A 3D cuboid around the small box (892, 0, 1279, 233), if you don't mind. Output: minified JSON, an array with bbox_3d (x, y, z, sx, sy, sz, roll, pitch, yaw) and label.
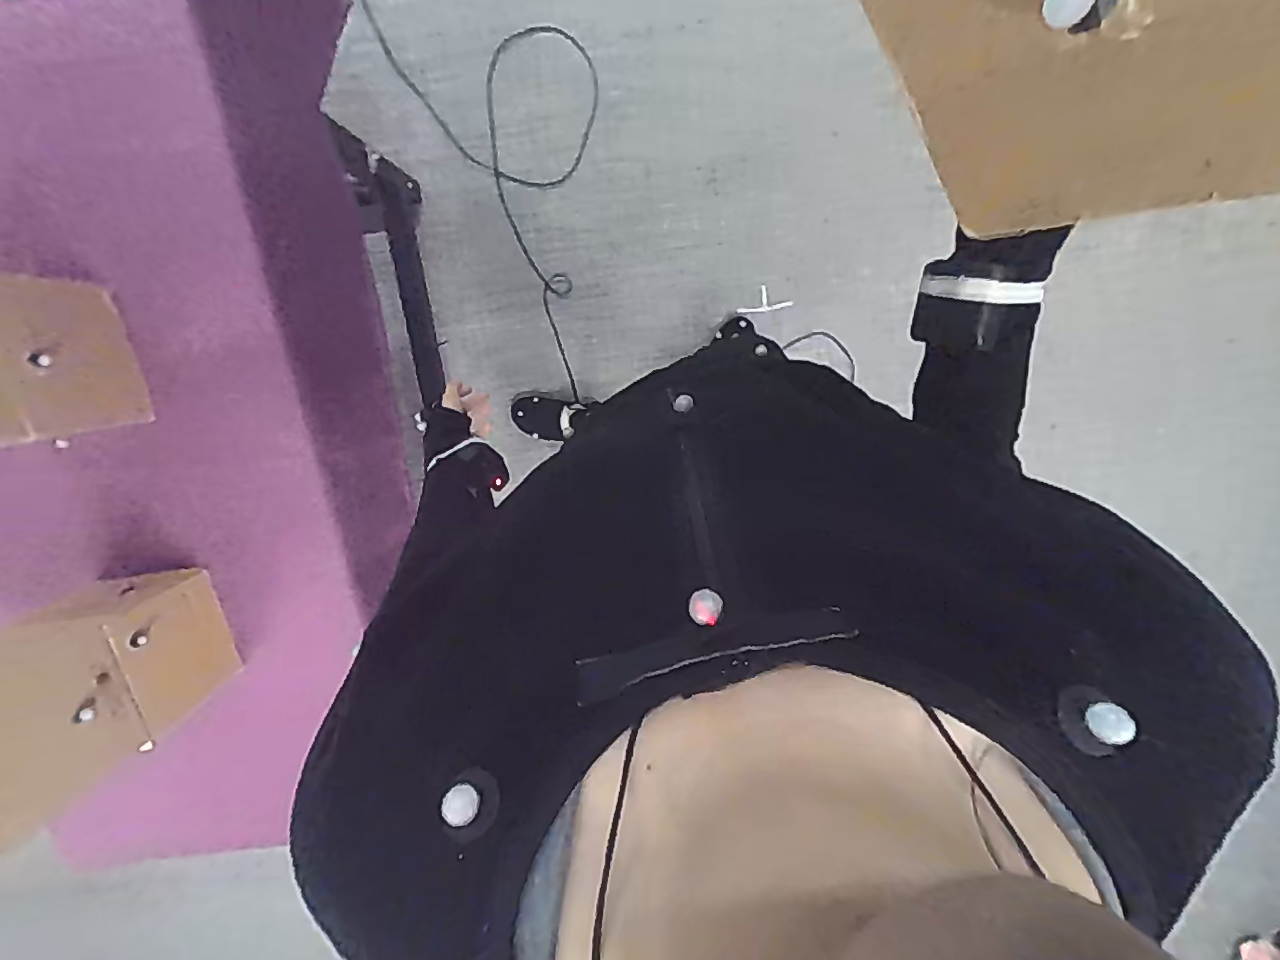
[{"bbox_3d":[0.210,-0.222,0.181,0.179,0.168,0.176,-45,116,-3],"label":"small box"}]

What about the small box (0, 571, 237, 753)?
[{"bbox_3d":[-0.698,0.244,0.732,0.168,0.176,0.179,-9,103,2],"label":"small box"}]

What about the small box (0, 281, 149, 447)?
[{"bbox_3d":[-0.742,-0.133,0.635,0.168,0.176,0.179,-7,103,1],"label":"small box"}]

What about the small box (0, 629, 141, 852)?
[{"bbox_3d":[-0.703,0.277,0.570,0.179,0.176,0.168,-9,104,2],"label":"small box"}]
